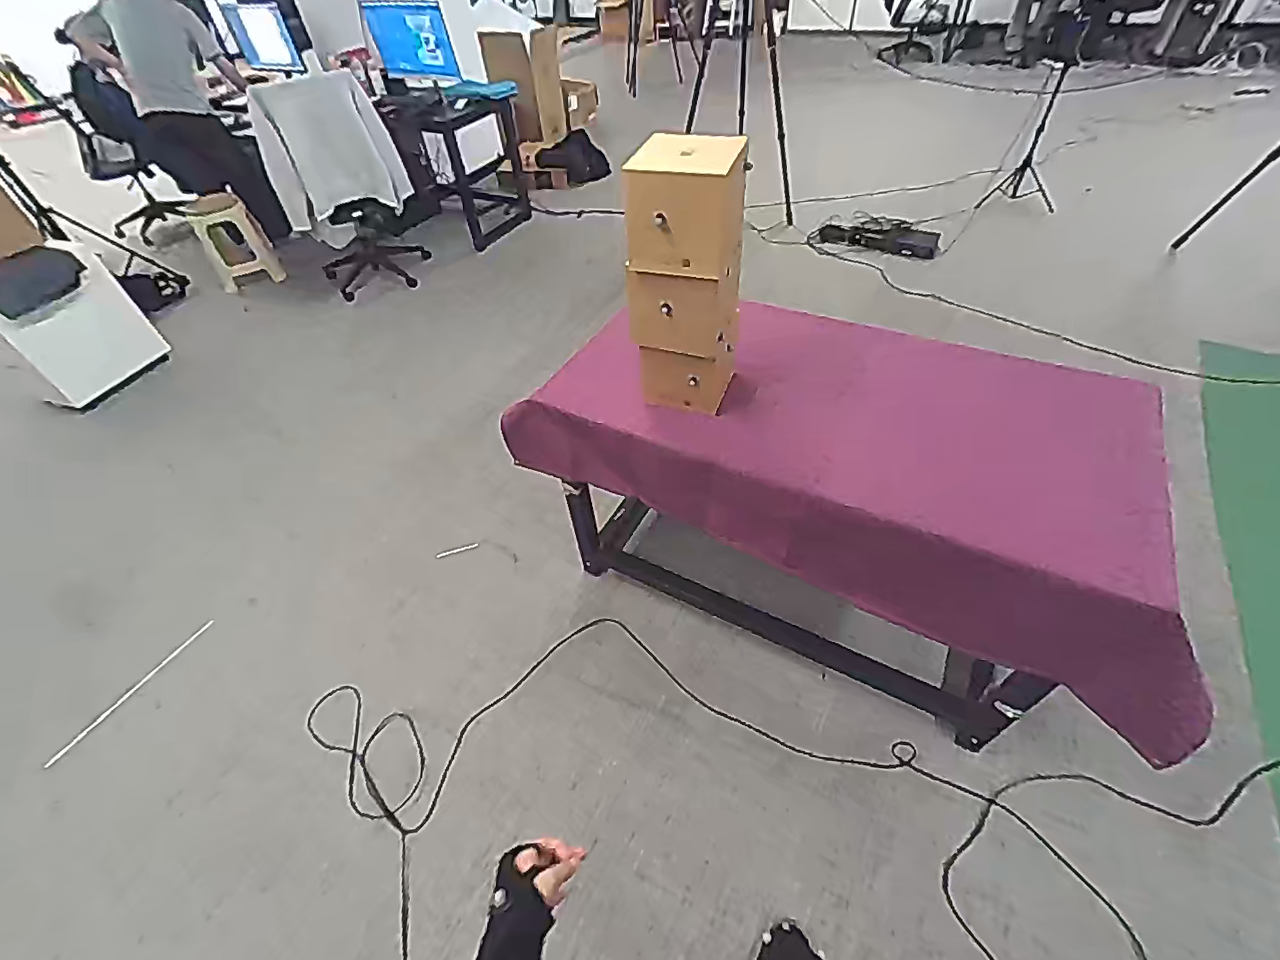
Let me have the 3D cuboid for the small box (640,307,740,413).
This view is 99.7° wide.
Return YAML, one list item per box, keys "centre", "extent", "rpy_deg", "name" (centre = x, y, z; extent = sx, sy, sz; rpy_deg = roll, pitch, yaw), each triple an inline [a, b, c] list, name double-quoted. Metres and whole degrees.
- centre: [0.112, -0.270, 1.175]
  extent: [0.168, 0.176, 0.179]
  rpy_deg: [15, 50, 17]
  name: "small box"

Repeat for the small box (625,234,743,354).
- centre: [0.087, -0.364, 1.041]
  extent: [0.179, 0.176, 0.168]
  rpy_deg: [15, 51, 18]
  name: "small box"

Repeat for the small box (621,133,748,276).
- centre: [0.079, -0.463, 0.912]
  extent: [0.168, 0.176, 0.179]
  rpy_deg: [12, 49, 15]
  name: "small box"
